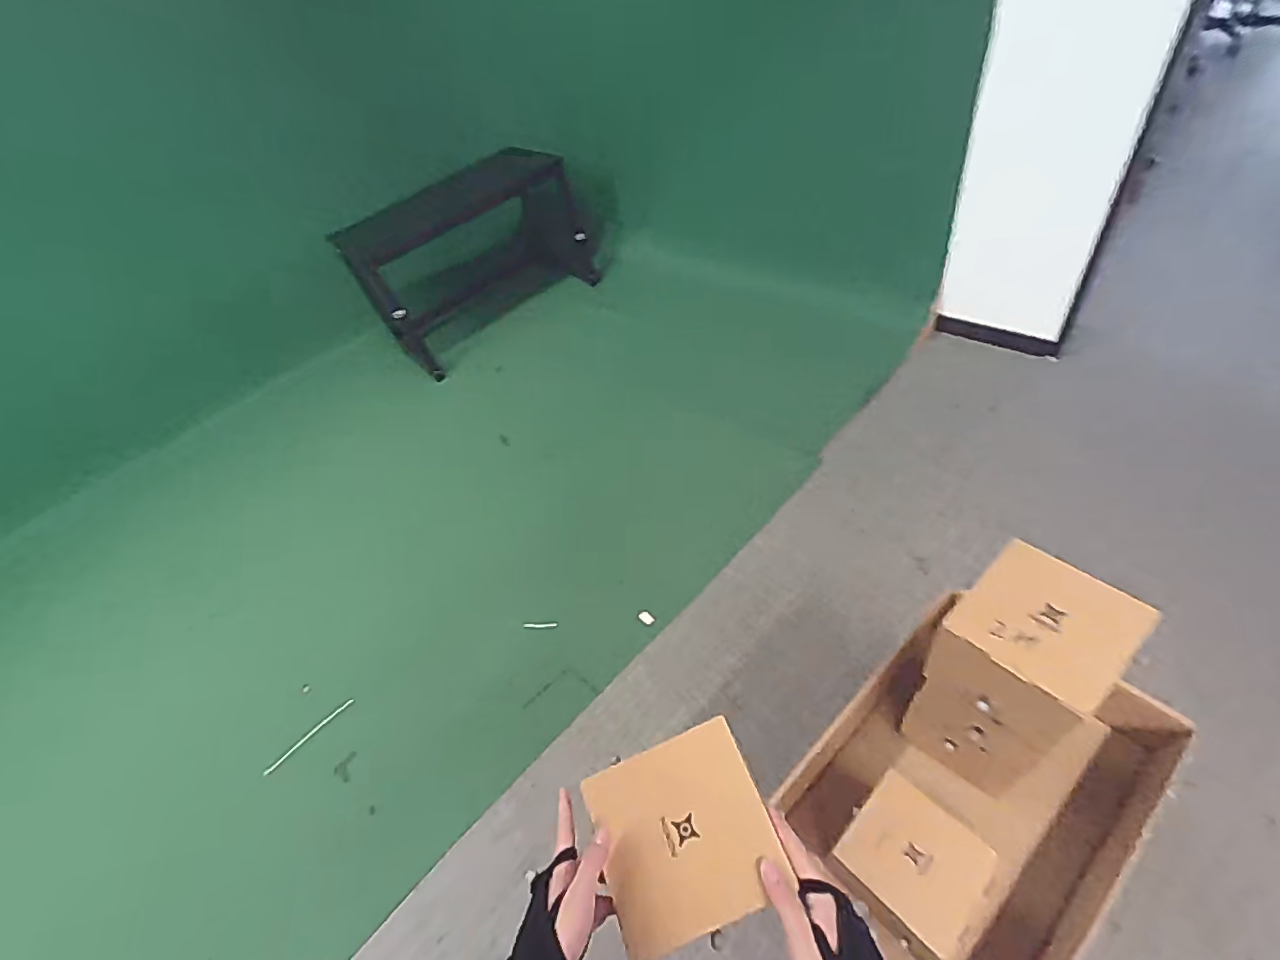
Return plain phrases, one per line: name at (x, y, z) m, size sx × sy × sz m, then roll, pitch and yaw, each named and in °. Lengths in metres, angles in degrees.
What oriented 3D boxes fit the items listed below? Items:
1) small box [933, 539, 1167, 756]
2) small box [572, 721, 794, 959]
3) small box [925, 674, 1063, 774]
small box at (0.512, 0.218, 0.704) m, size 0.179 × 0.176 × 0.168 m, roll -39°, pitch 49°, yaw -16°
small box at (0.051, 0.392, 0.599) m, size 0.179 × 0.176 × 0.168 m, roll -26°, pitch 56°, yaw -1°
small box at (0.562, 0.313, 0.831) m, size 0.168 × 0.176 × 0.179 m, roll 30°, pitch 64°, yaw 35°
